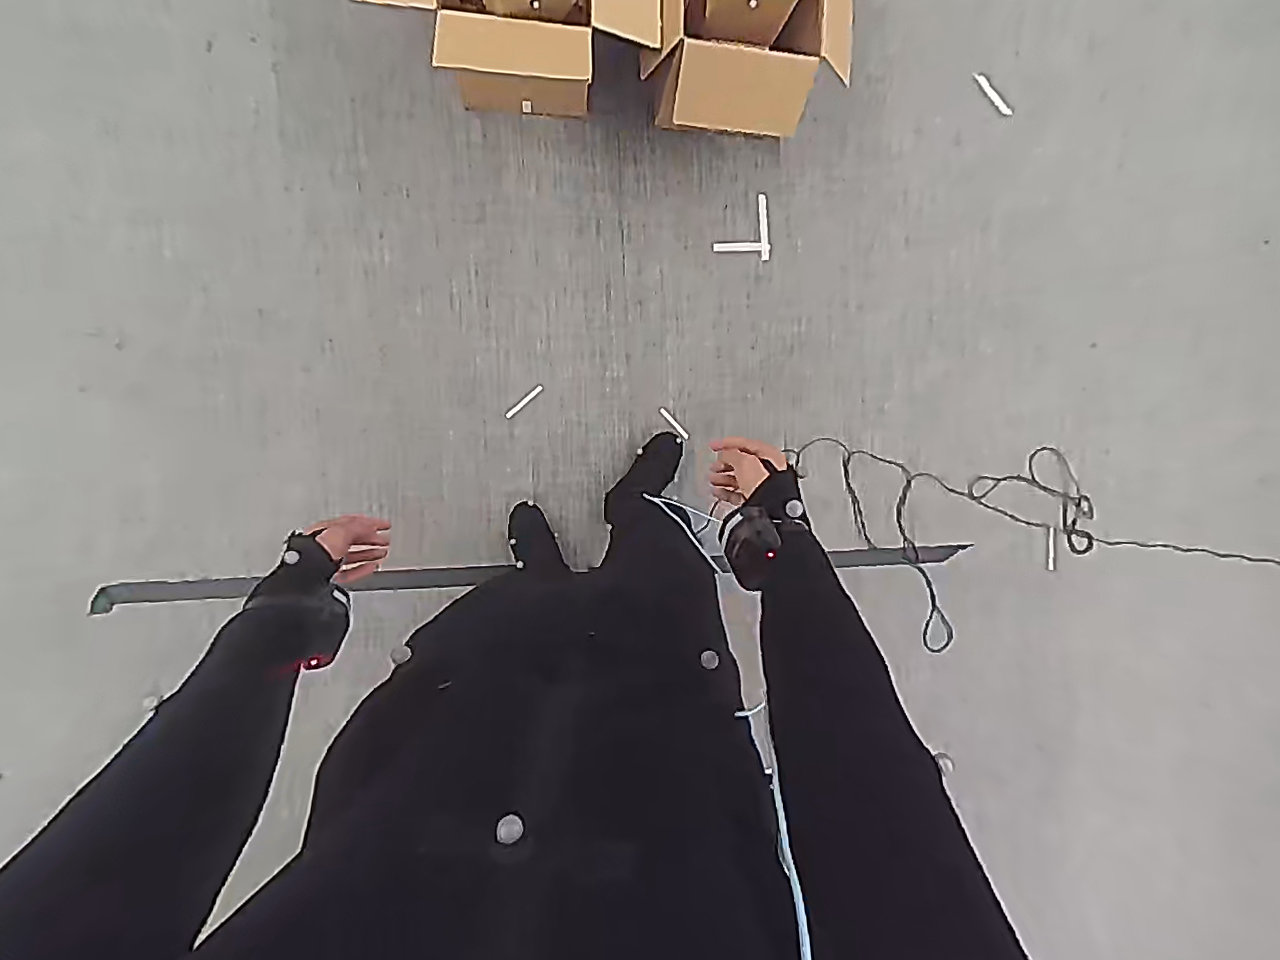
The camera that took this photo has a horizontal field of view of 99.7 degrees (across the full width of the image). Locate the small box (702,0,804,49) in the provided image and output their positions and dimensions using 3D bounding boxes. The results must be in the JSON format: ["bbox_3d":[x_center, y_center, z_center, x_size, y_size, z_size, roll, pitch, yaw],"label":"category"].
[{"bbox_3d":[0.243,-1.072,1.159,0.179,0.176,0.168,0,95,-9],"label":"small box"}]
